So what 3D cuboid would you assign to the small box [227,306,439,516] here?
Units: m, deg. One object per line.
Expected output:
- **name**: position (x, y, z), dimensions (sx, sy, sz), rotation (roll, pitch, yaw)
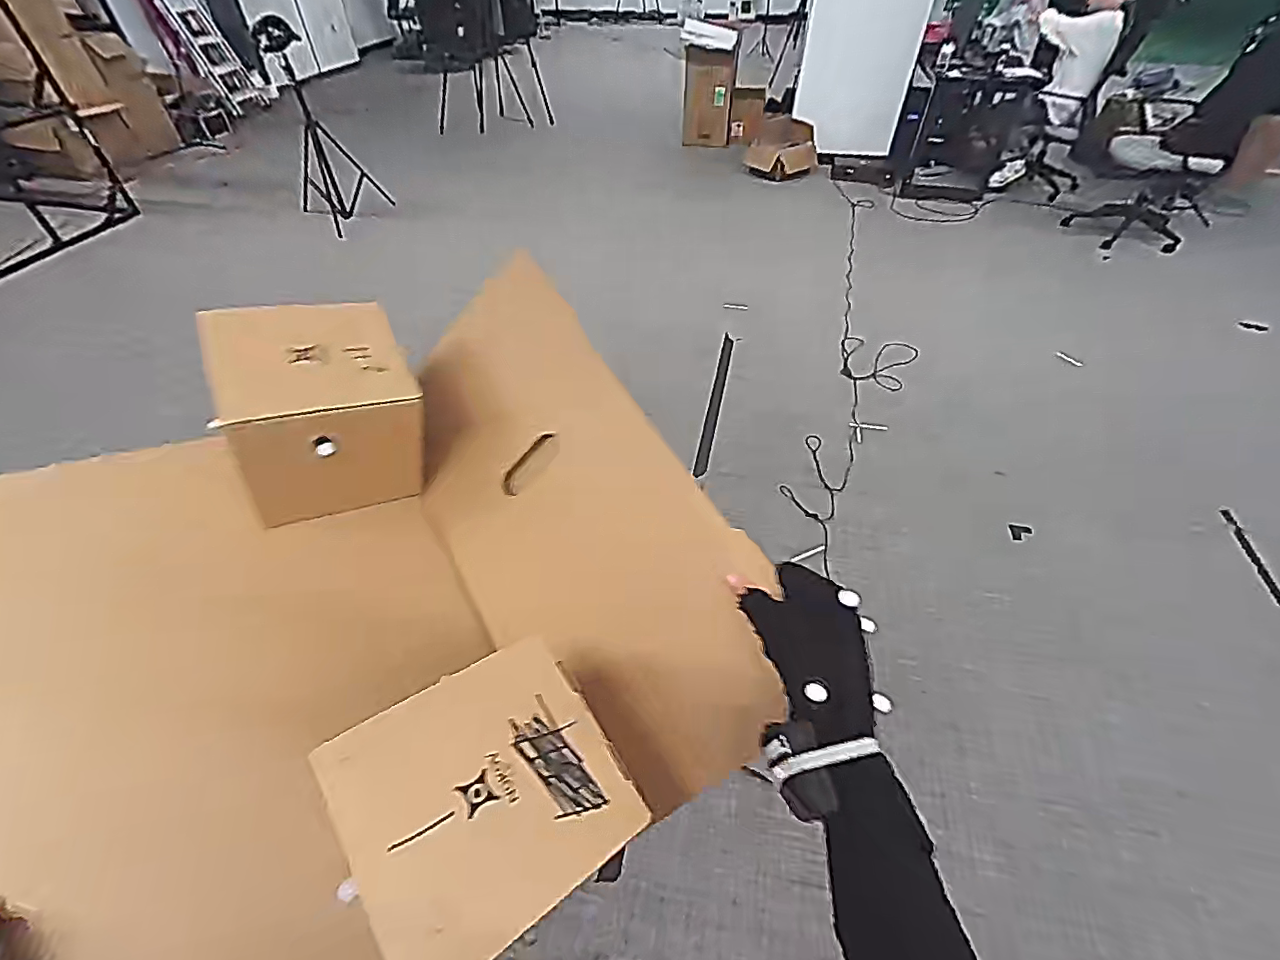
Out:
- **small box**: position (-0.342, -0.078, 0.622), dimensions (0.179, 0.176, 0.168), rotation (-13, 58, -31)
